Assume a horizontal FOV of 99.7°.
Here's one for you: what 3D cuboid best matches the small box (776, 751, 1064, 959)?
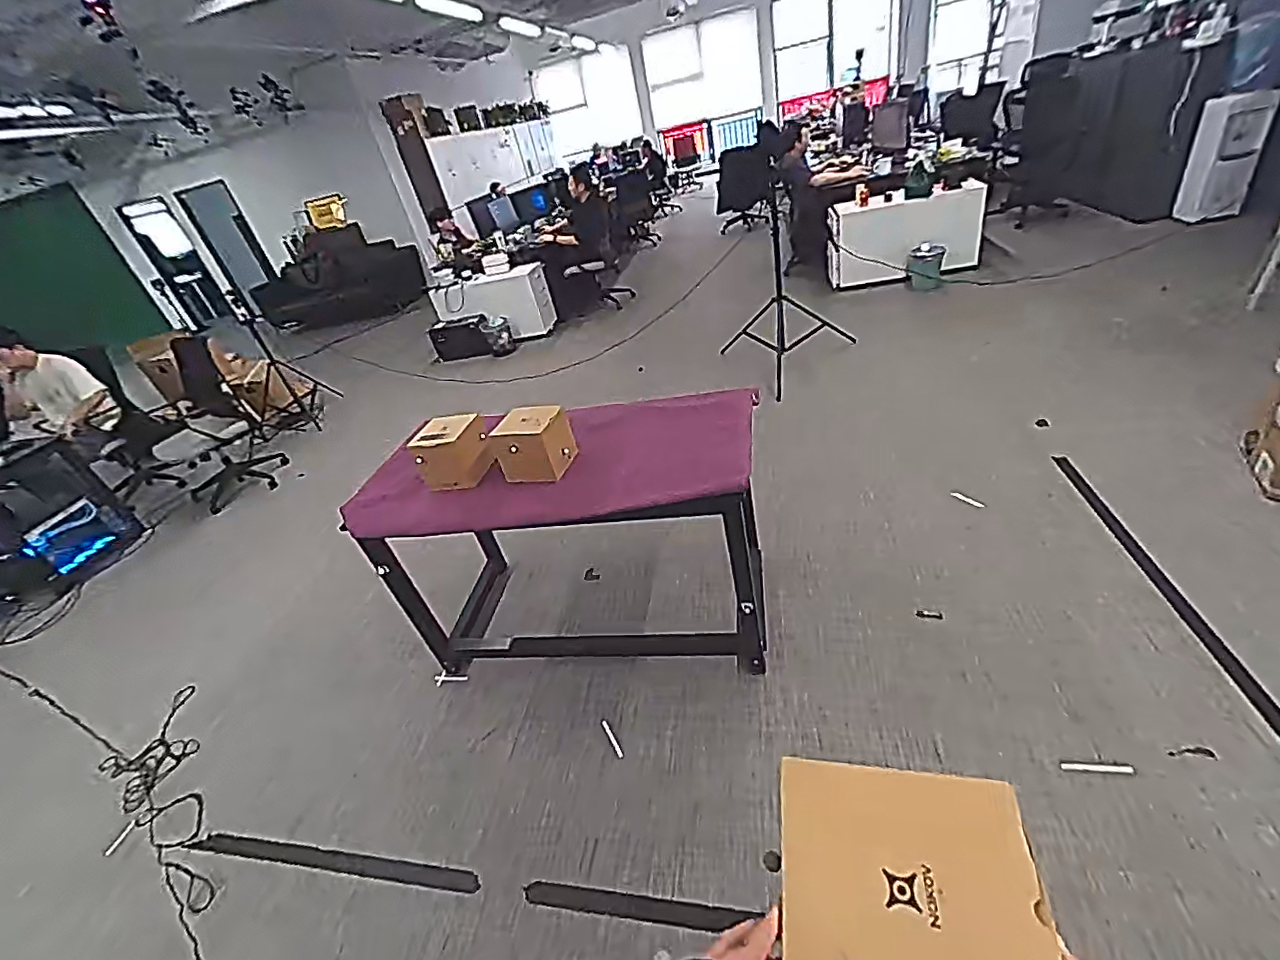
[{"bbox_3d":[0.200,0.342,0.430,0.179,0.176,0.168,0,42,14],"label":"small box"}]

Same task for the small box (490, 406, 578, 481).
[{"bbox_3d":[-0.311,-0.107,1.624,0.179,0.176,0.168,0,36,21],"label":"small box"}]
